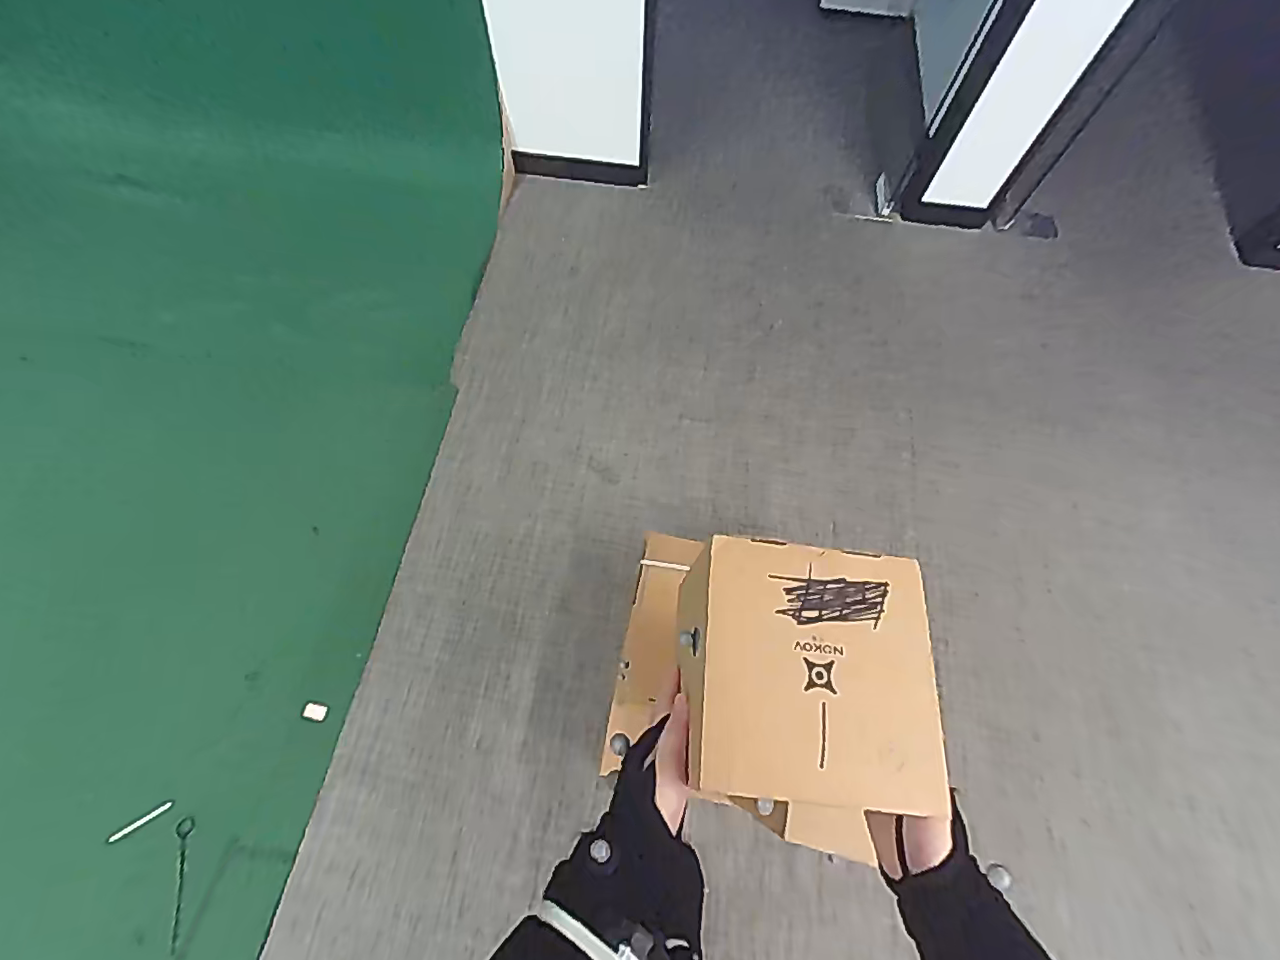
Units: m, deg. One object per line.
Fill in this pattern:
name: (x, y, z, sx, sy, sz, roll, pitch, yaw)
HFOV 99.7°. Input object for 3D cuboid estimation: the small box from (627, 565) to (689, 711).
small box: (0.075, 0.245, 0.789, 0.168, 0.176, 0.179, 11, 65, 3)

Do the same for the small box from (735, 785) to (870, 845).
small box: (0.257, 0.455, 0.873, 0.168, 0.176, 0.179, 13, 64, 4)

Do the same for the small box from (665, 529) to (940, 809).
small box: (0.115, 0.160, 0.456, 0.168, 0.176, 0.179, 7, 64, -1)
